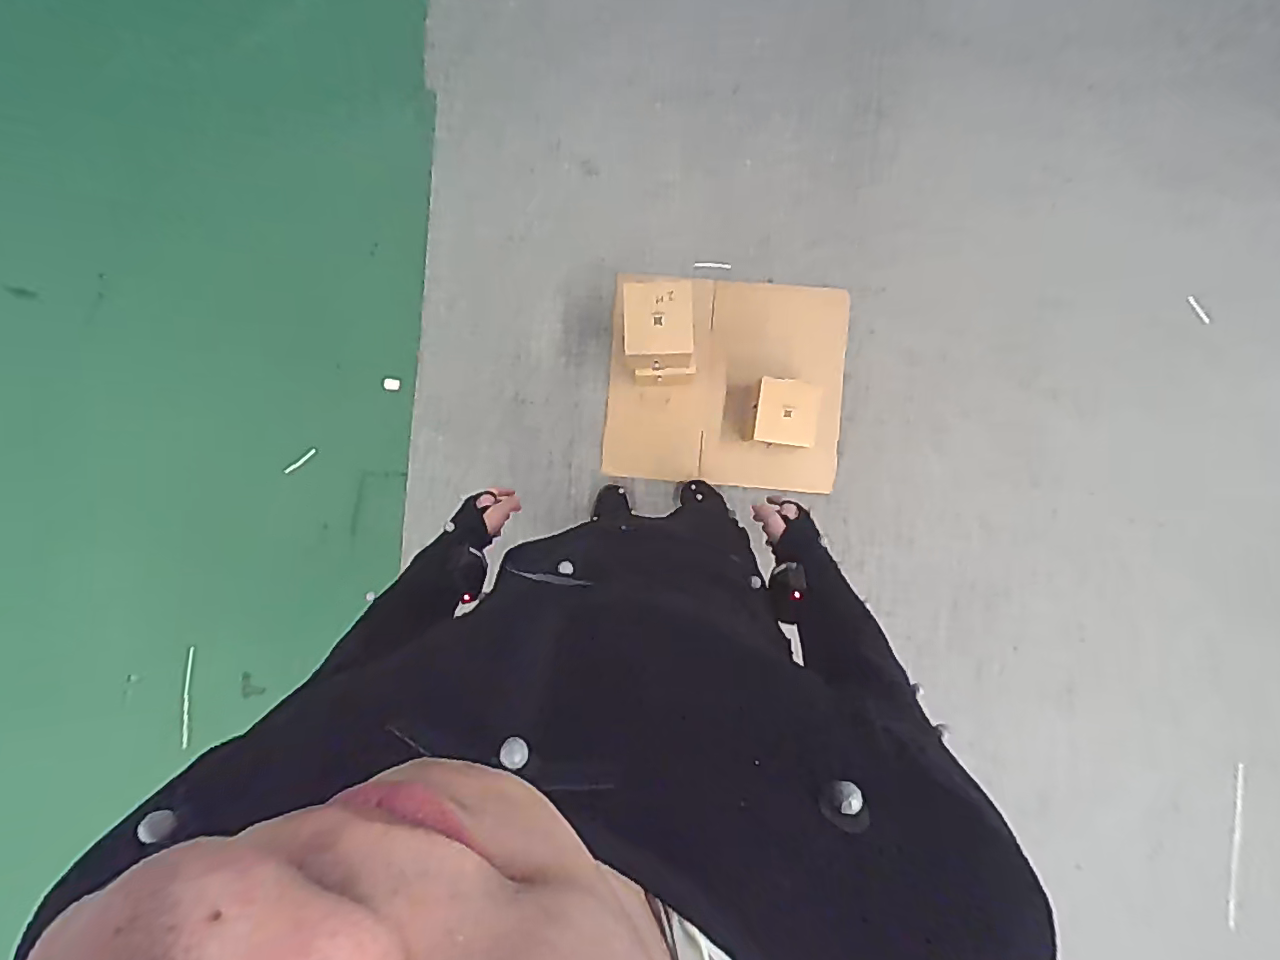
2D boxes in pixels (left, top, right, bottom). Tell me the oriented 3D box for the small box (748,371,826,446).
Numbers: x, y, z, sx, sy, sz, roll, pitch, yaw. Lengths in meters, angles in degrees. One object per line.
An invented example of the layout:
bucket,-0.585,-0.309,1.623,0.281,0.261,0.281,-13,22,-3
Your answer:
small box,0.402,-0.191,1.507,0.168,0.176,0.179,8,90,3

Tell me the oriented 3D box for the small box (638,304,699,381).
small box,0.076,-0.381,1.520,0.168,0.176,0.179,-2,90,2

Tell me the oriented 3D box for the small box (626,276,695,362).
small box,0.051,-0.395,1.355,0.168,0.176,0.179,-1,90,1
